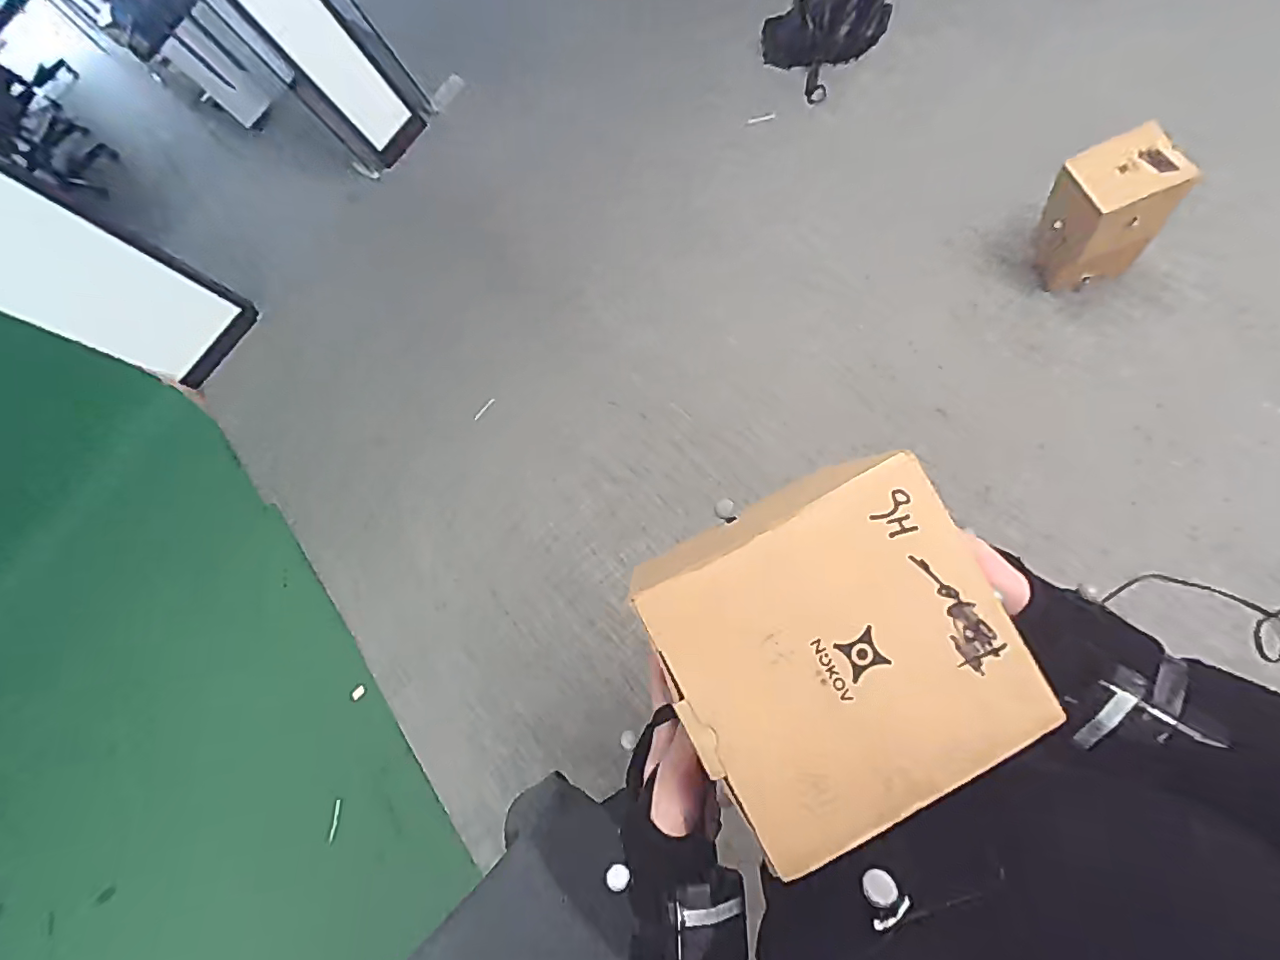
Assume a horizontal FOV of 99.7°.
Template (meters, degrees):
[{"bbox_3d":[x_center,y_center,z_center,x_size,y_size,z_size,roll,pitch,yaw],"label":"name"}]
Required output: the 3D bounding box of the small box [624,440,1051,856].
[{"bbox_3d":[0.106,0.092,0.367,0.179,0.176,0.168,-28,88,0],"label":"small box"}]

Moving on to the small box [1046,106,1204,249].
[{"bbox_3d":[1.039,-0.650,1.179,0.179,0.176,0.168,-21,67,16],"label":"small box"}]

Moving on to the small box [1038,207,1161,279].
[{"bbox_3d":[1.113,-0.631,1.328,0.168,0.176,0.179,-9,73,20],"label":"small box"}]
